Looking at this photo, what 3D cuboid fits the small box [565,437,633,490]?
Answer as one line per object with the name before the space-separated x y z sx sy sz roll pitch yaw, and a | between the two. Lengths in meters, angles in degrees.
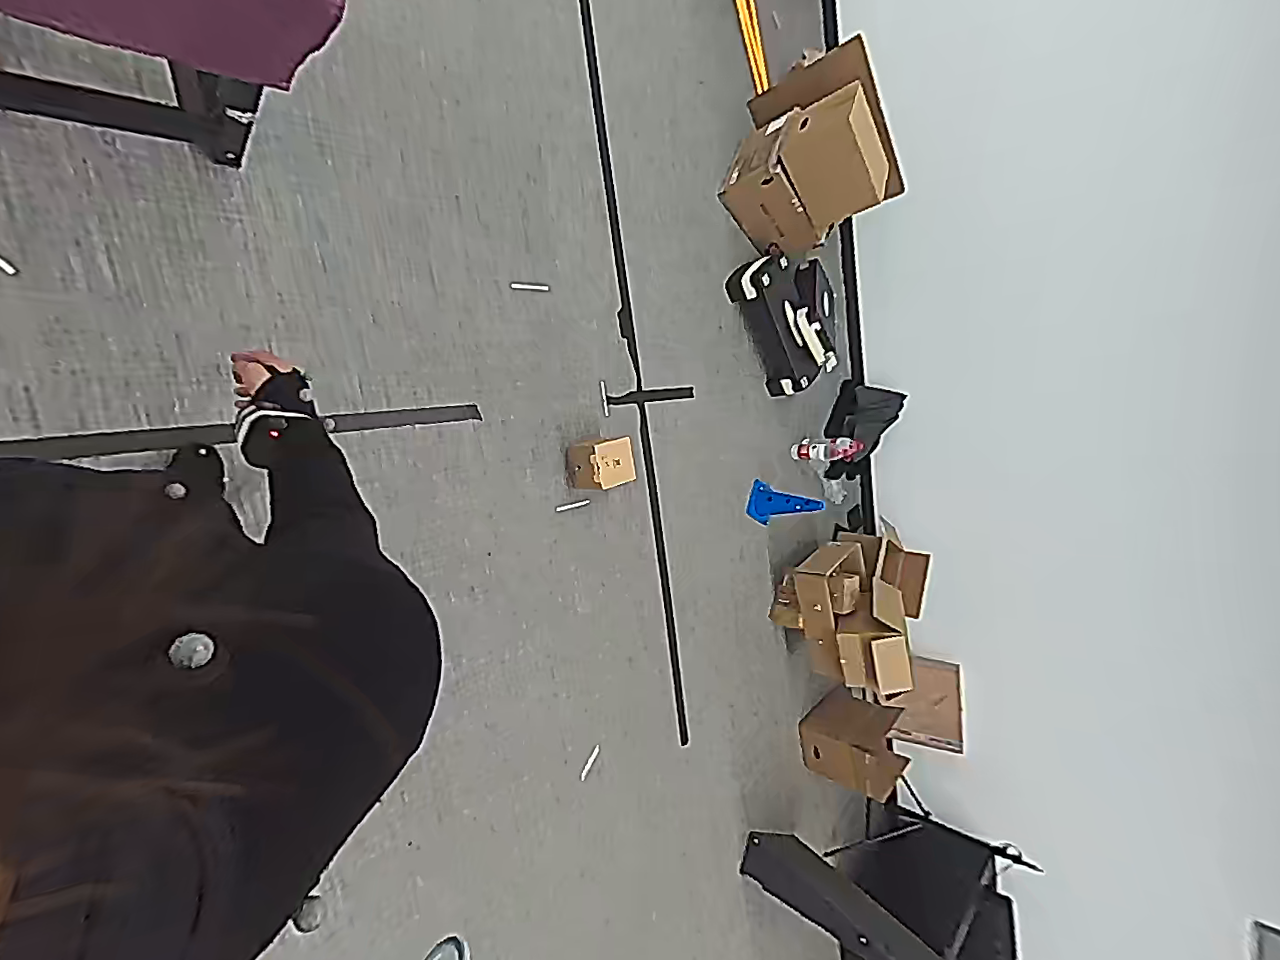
small box | -0.154 -0.065 2.024 0.179 0.176 0.168 -18 103 -40
